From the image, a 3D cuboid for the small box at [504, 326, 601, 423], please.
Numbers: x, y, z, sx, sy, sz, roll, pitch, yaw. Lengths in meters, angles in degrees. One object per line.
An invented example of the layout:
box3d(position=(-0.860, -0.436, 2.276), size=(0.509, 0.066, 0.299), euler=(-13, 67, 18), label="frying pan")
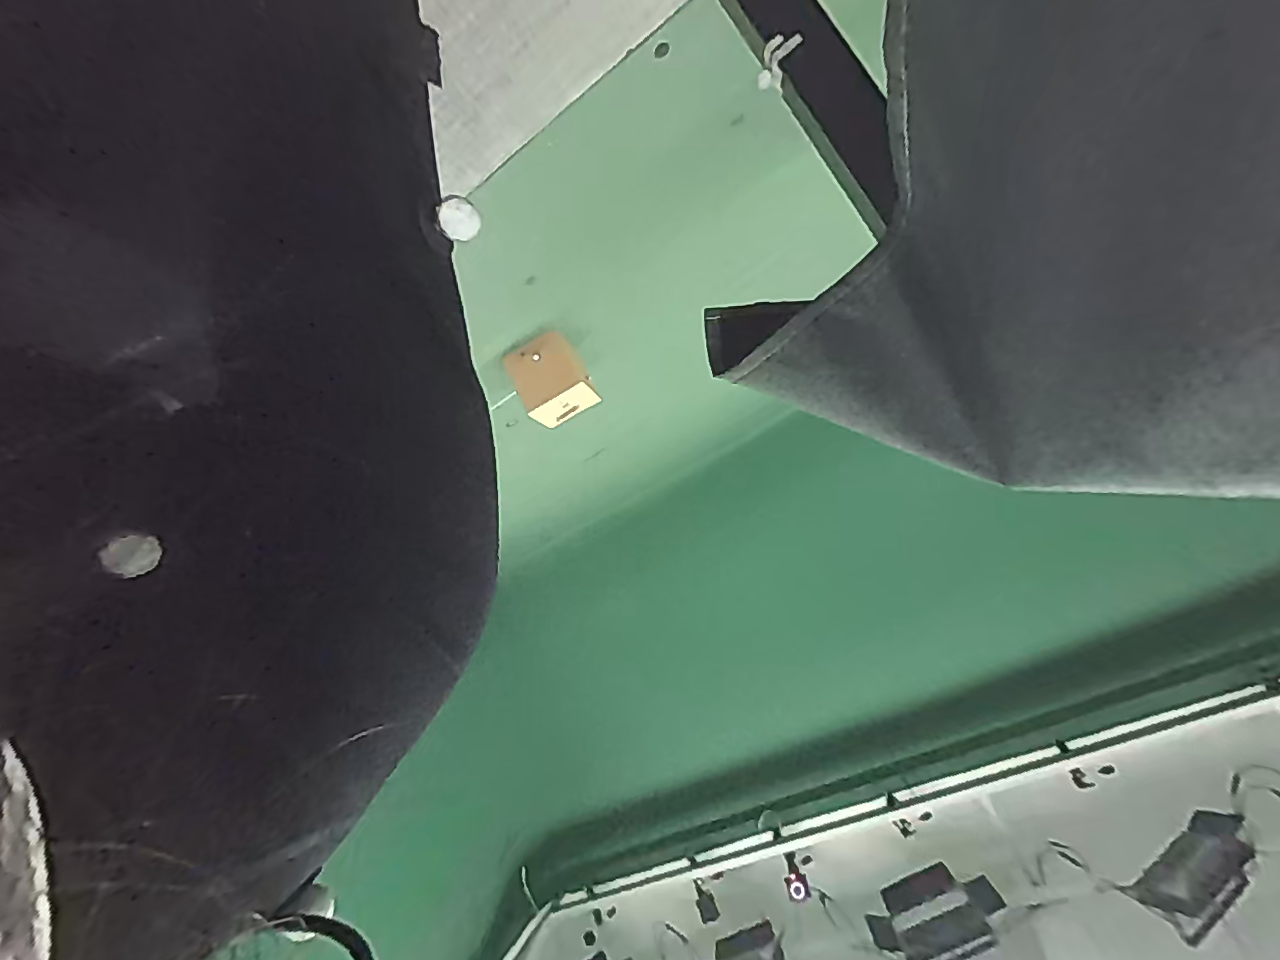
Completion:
box3d(position=(-0.226, -0.276, 1.424), size=(0.168, 0.176, 0.179), euler=(-29, 169, 7), label="small box")
